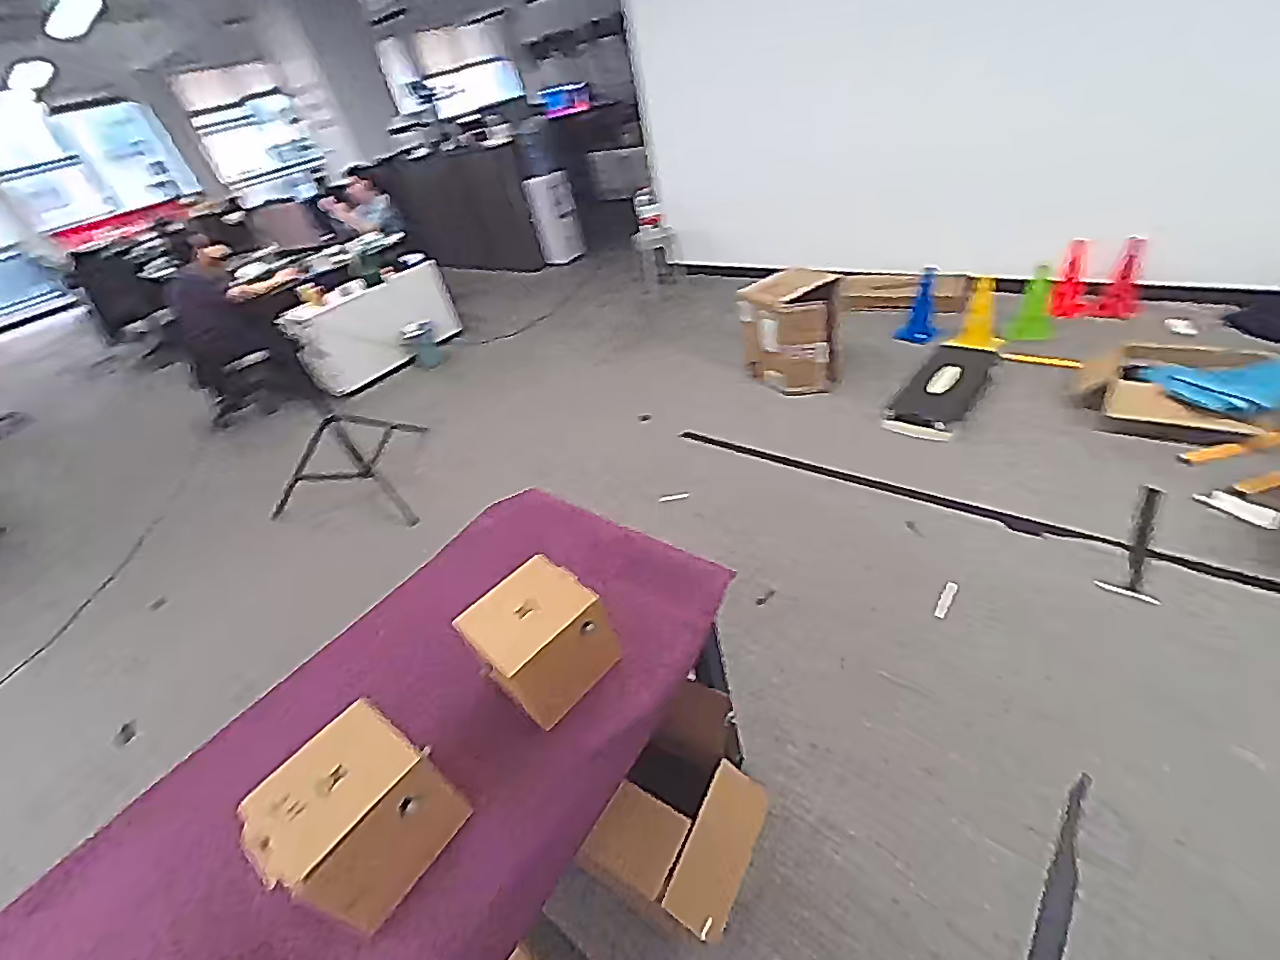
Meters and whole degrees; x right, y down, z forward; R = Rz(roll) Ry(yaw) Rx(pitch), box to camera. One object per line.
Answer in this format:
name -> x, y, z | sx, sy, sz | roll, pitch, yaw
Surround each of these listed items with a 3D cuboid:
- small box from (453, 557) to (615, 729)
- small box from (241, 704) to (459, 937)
small box -> -0.165, 0.266, 0.886 | 0.168, 0.176, 0.179 | 24, 51, 39
small box -> -0.369, 0.447, 0.722 | 0.168, 0.176, 0.179 | 15, 46, 36
